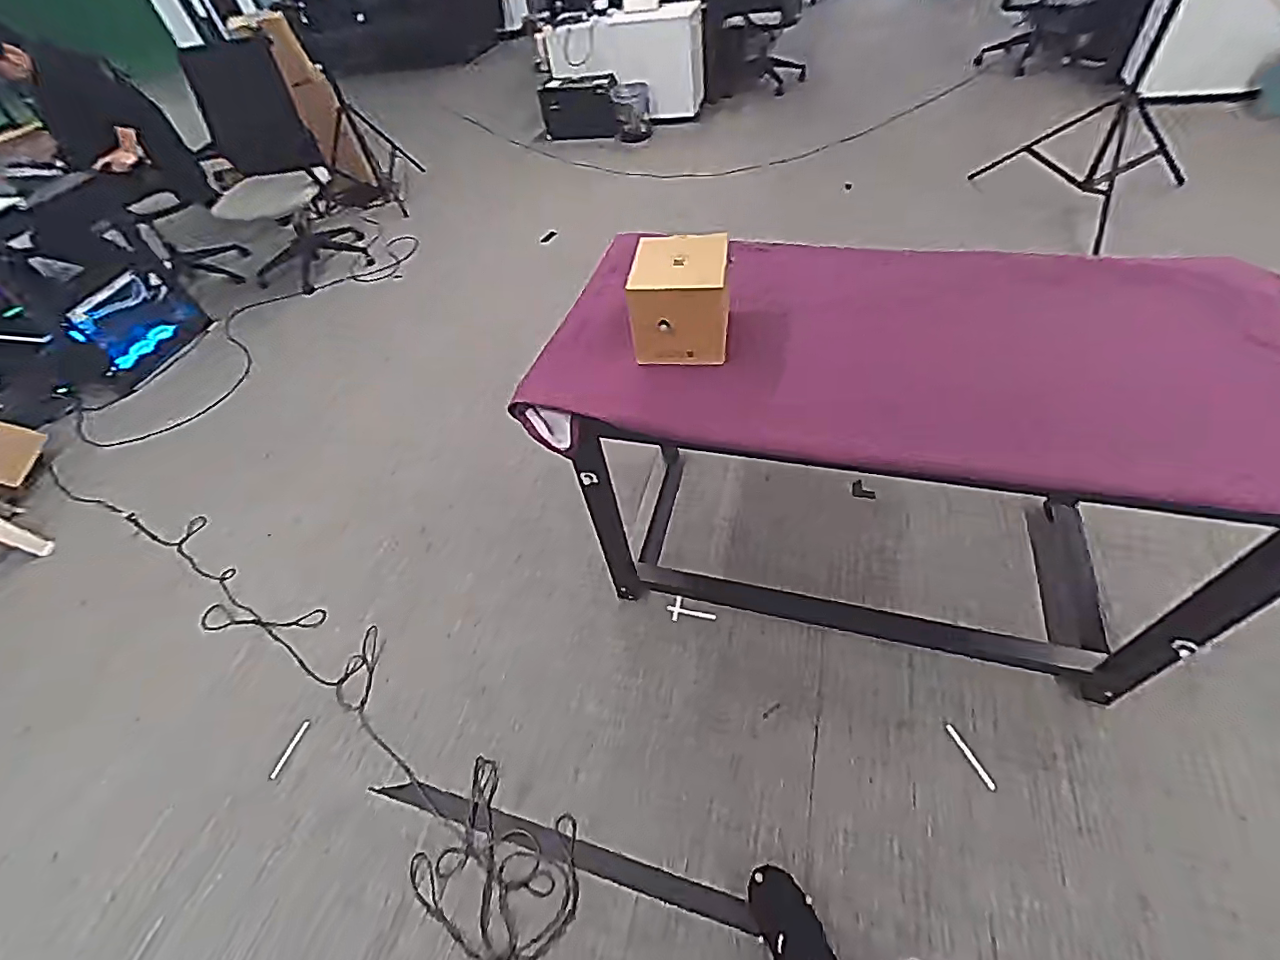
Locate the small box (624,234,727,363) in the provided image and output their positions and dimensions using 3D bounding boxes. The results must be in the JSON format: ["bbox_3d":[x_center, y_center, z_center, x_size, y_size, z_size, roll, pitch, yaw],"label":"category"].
[{"bbox_3d":[0.075,-0.335,1.016,0.168,0.176,0.179,2,51,11],"label":"small box"}]
